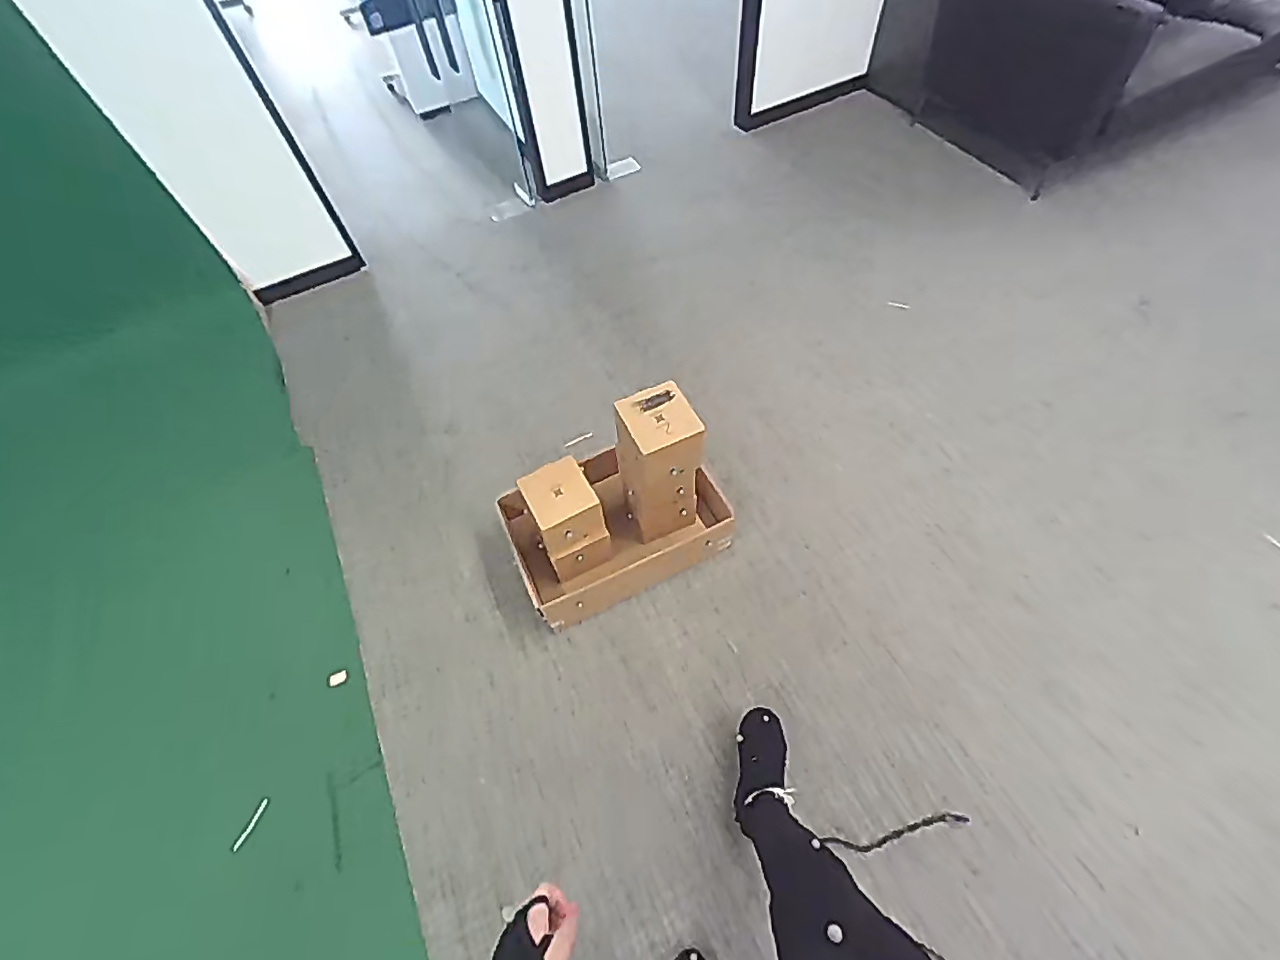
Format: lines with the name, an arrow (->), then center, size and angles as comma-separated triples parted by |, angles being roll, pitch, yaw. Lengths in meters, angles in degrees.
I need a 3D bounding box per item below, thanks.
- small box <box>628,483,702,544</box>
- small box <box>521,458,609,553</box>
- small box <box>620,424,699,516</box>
small box -> 0.074, 0.067, 1.643 | 0.179, 0.176, 0.168 | -22, 59, -7
small box -> -0.197, 0.079, 1.468 | 0.168, 0.176, 0.179 | -27, 59, -12
small box -> 0.056, -0.019, 1.505 | 0.168, 0.176, 0.179 | -21, 59, -9
